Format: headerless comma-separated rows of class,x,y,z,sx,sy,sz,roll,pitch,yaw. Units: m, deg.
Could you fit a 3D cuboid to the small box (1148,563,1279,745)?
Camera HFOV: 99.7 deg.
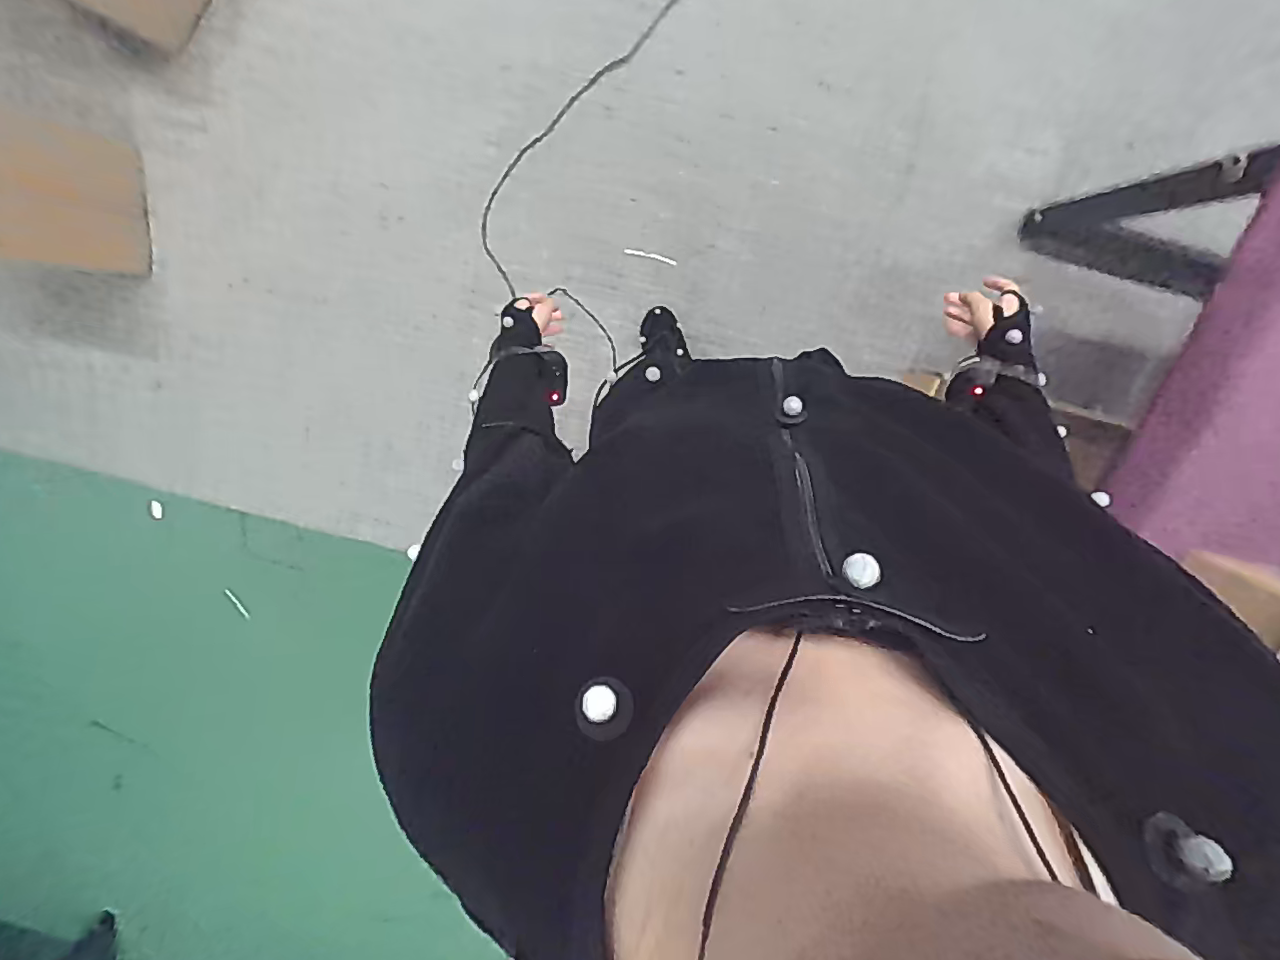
small box,0.833,0.235,0.703,0.168,0.176,0.179,14,107,-2

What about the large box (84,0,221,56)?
large box,-1.068,-1.206,1.088,0.320,0.320,0.408,43,103,-9
